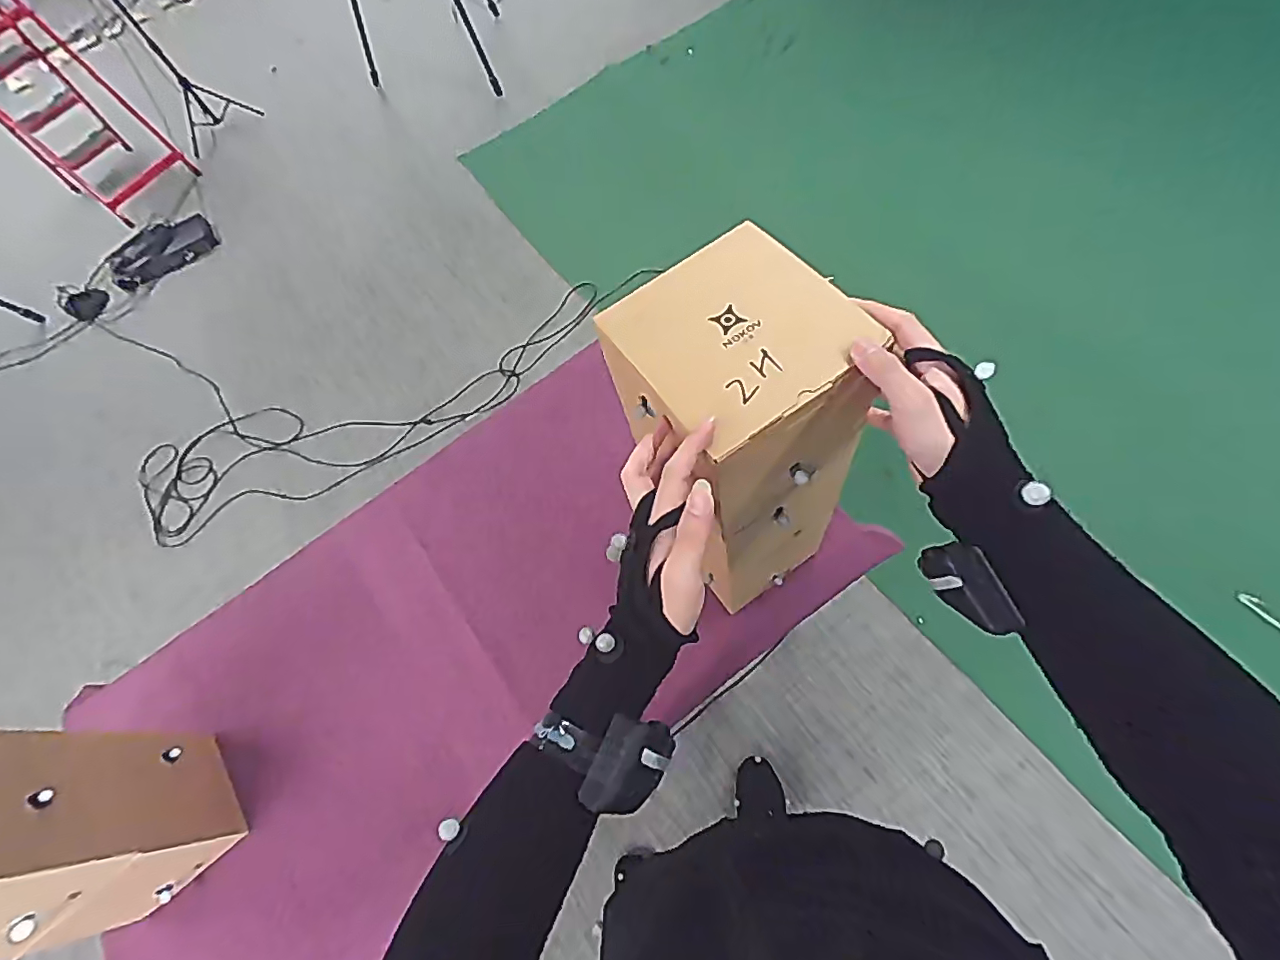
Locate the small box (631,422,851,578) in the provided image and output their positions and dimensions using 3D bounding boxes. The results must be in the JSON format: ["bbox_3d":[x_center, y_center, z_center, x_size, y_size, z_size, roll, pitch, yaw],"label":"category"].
[{"bbox_3d":[0.113,-0.011,0.640,0.168,0.176,0.179,-34,63,-6],"label":"small box"}]

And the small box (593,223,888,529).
[{"bbox_3d":[0.084,-0.084,0.493,0.168,0.176,0.179,-34,63,-5],"label":"small box"}]

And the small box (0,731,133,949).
[{"bbox_3d":[-0.723,0.400,0.592,0.168,0.176,0.179,-40,65,-9],"label":"small box"}]

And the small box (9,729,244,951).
[{"bbox_3d":[-0.698,0.470,0.738,0.168,0.176,0.179,-40,66,-9],"label":"small box"}]
